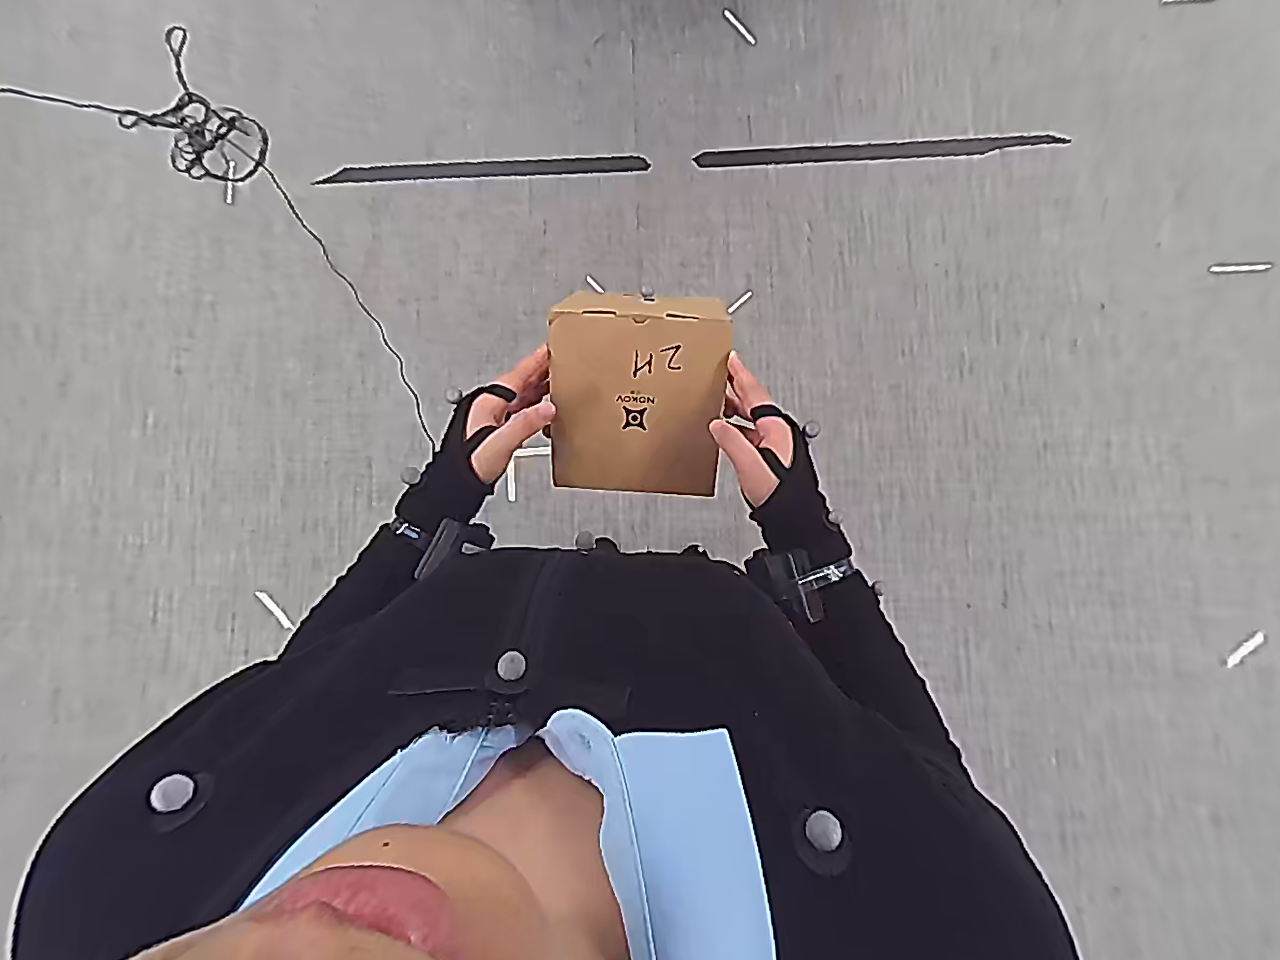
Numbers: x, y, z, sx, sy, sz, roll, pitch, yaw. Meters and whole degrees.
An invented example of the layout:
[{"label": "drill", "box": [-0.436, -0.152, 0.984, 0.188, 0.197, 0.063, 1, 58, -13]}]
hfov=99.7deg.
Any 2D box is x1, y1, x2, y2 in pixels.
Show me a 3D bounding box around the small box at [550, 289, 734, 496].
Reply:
[{"label": "small box", "box": [0.002, -0.101, 0.579, 0.168, 0.176, 0.179, 4, 114, 2]}]
